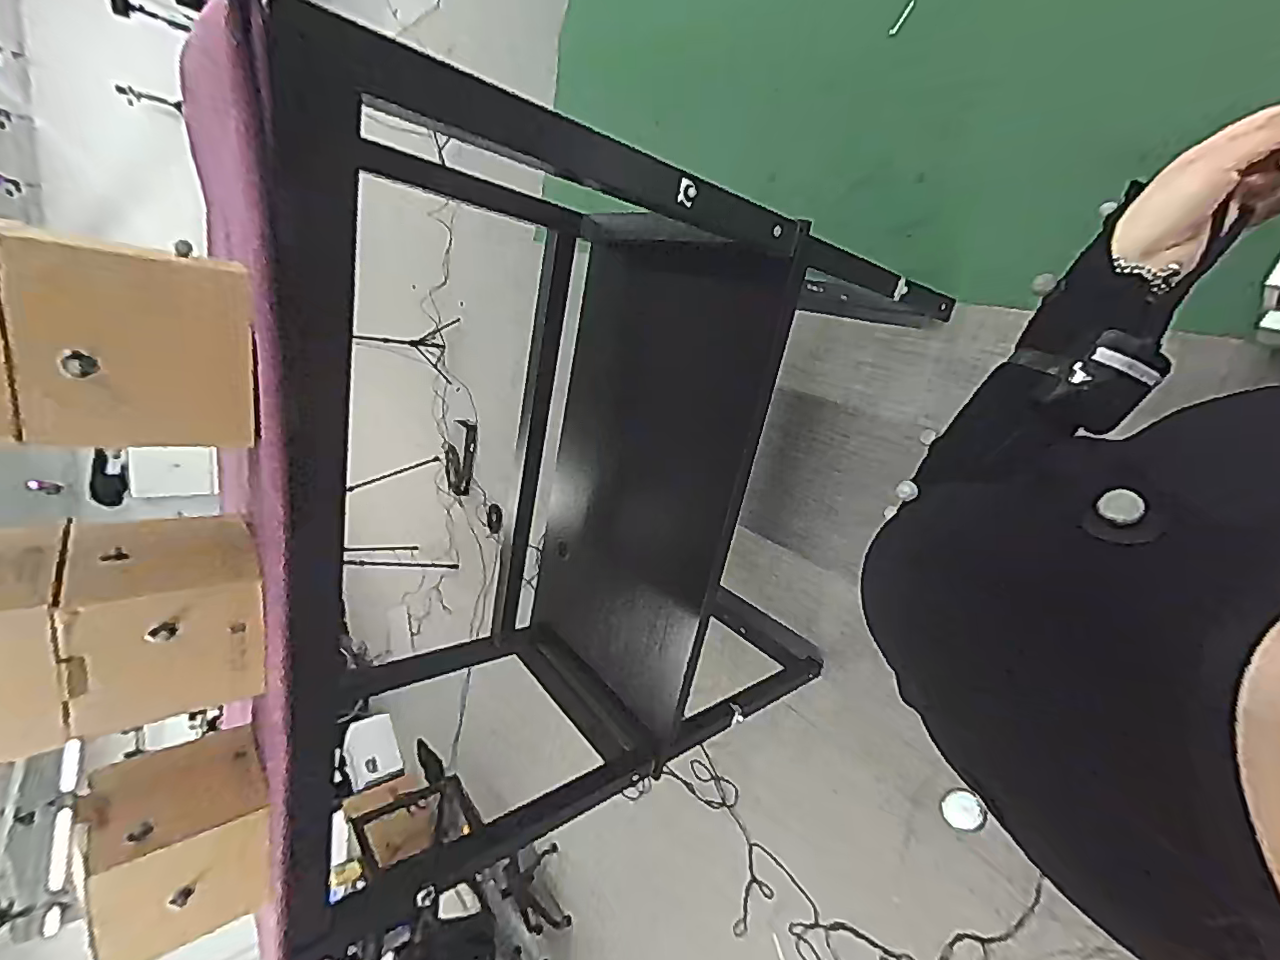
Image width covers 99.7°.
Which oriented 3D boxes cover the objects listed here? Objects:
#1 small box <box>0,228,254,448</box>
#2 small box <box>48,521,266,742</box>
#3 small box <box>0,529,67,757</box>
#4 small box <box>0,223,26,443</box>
[{"bbox_3d":[-0.495,-0.139,0.541,0.168,0.176,0.179,30,115,46],"label":"small box"},{"bbox_3d":[-0.547,0.156,0.630,0.179,0.176,0.168,32,115,43],"label":"small box"},{"bbox_3d":[-0.671,0.164,0.522,0.168,0.176,0.179,31,115,42],"label":"small box"},{"bbox_3d":[-0.624,-0.132,0.443,0.168,0.176,0.179,30,115,46],"label":"small box"}]
